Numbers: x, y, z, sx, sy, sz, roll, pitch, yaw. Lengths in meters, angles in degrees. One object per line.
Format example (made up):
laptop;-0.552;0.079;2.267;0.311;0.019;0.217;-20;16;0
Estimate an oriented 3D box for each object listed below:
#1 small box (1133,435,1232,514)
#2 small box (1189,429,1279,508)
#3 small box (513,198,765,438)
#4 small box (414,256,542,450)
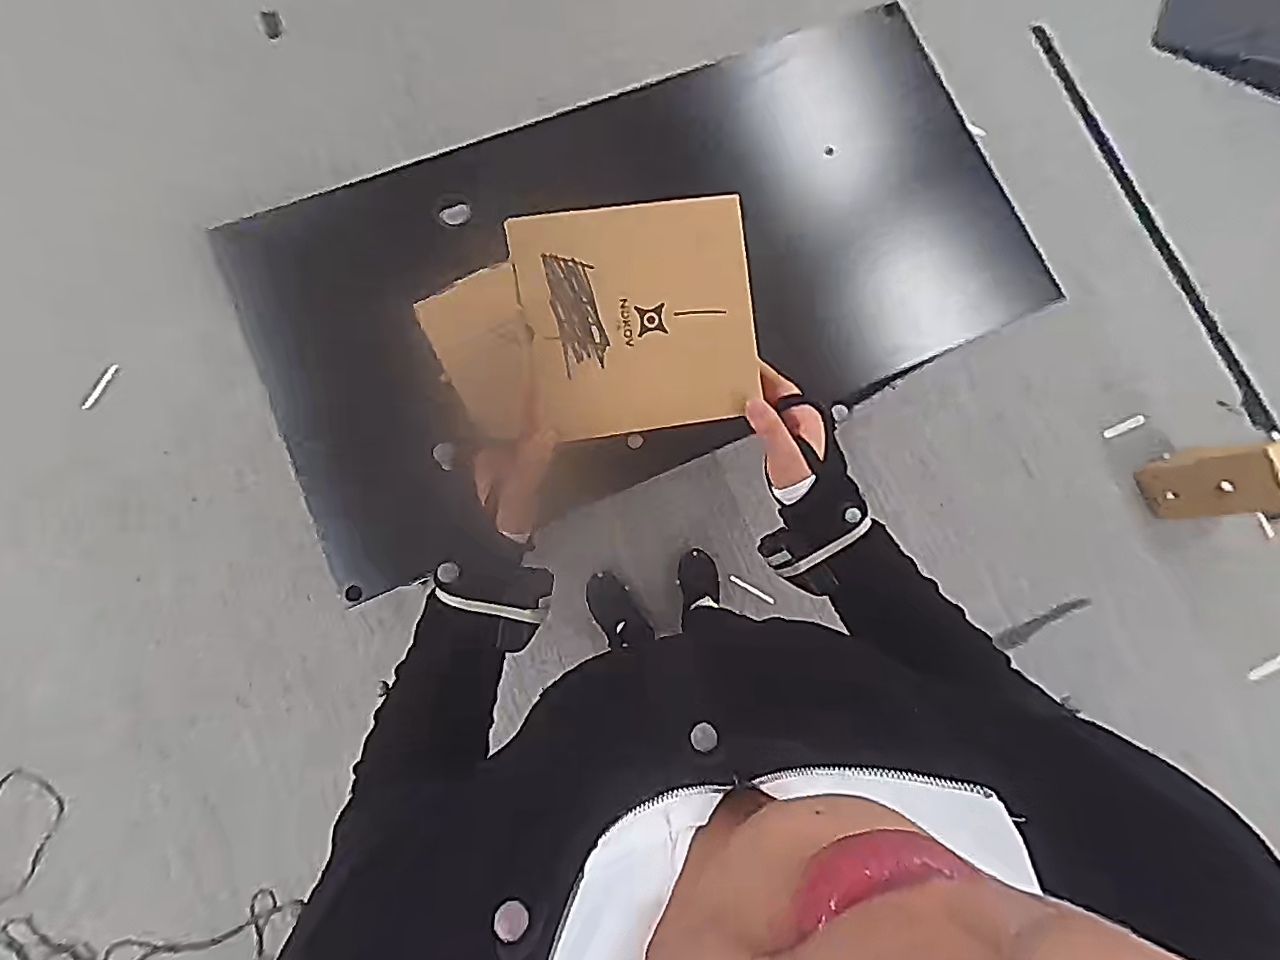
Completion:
small box;1.598;-0.010;1.570;0.179;0.176;0.168;-24;84;-6
small box;1.613;-0.032;1.406;0.179;0.176;0.168;-18;83;-6
small box;-0.005;-0.127;0.483;0.179;0.176;0.168;-8;97;-6
small box;-0.167;-0.162;0.729;0.168;0.176;0.179;-29;86;-6
